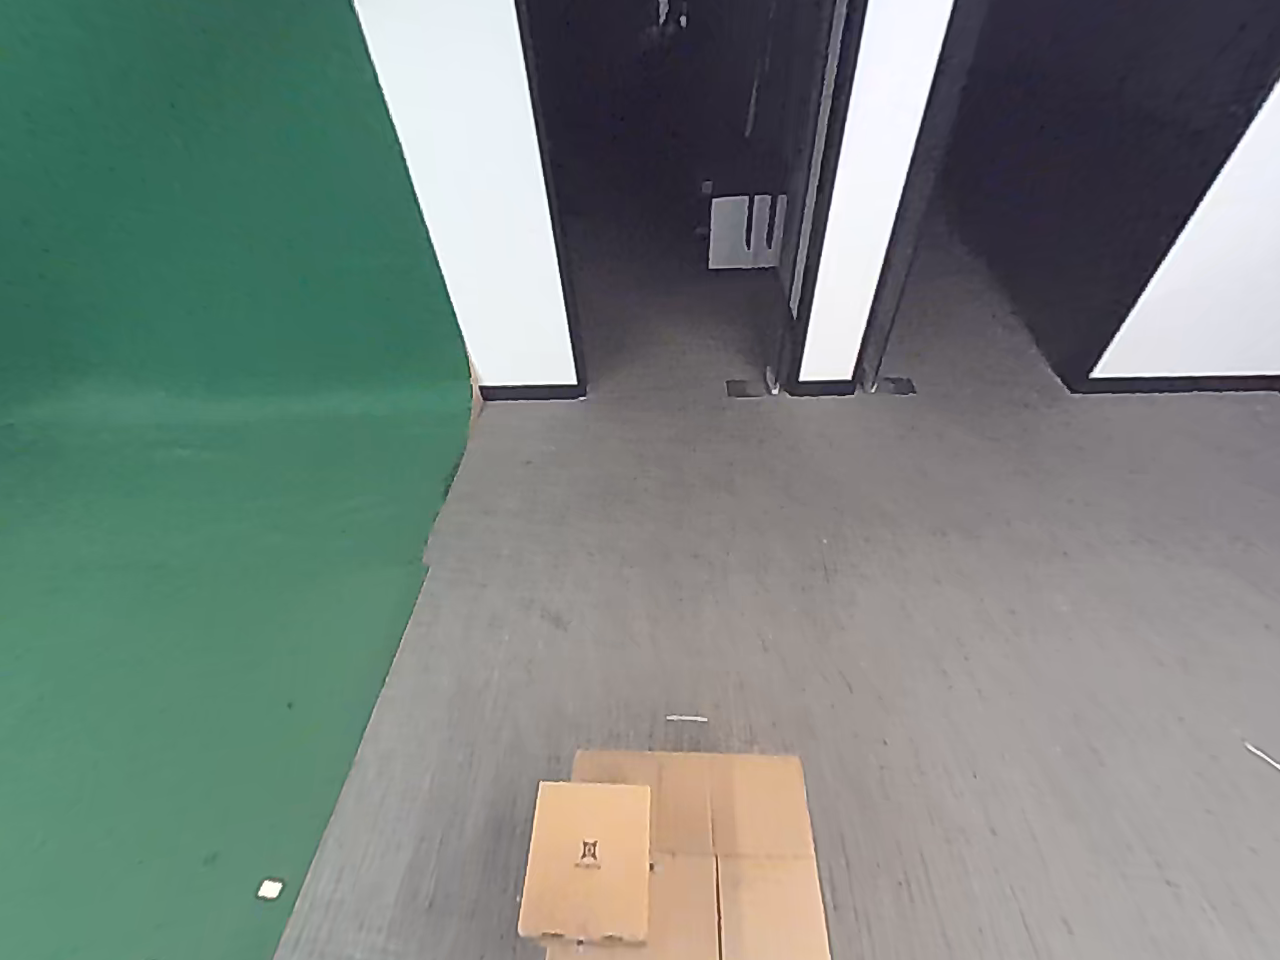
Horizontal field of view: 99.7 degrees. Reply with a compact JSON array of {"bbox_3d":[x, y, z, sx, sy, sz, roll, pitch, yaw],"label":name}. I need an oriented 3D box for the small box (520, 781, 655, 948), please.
[{"bbox_3d":[-0.064,0.561,0.789,0.168,0.176,0.179,0,48,3],"label":"small box"}]
